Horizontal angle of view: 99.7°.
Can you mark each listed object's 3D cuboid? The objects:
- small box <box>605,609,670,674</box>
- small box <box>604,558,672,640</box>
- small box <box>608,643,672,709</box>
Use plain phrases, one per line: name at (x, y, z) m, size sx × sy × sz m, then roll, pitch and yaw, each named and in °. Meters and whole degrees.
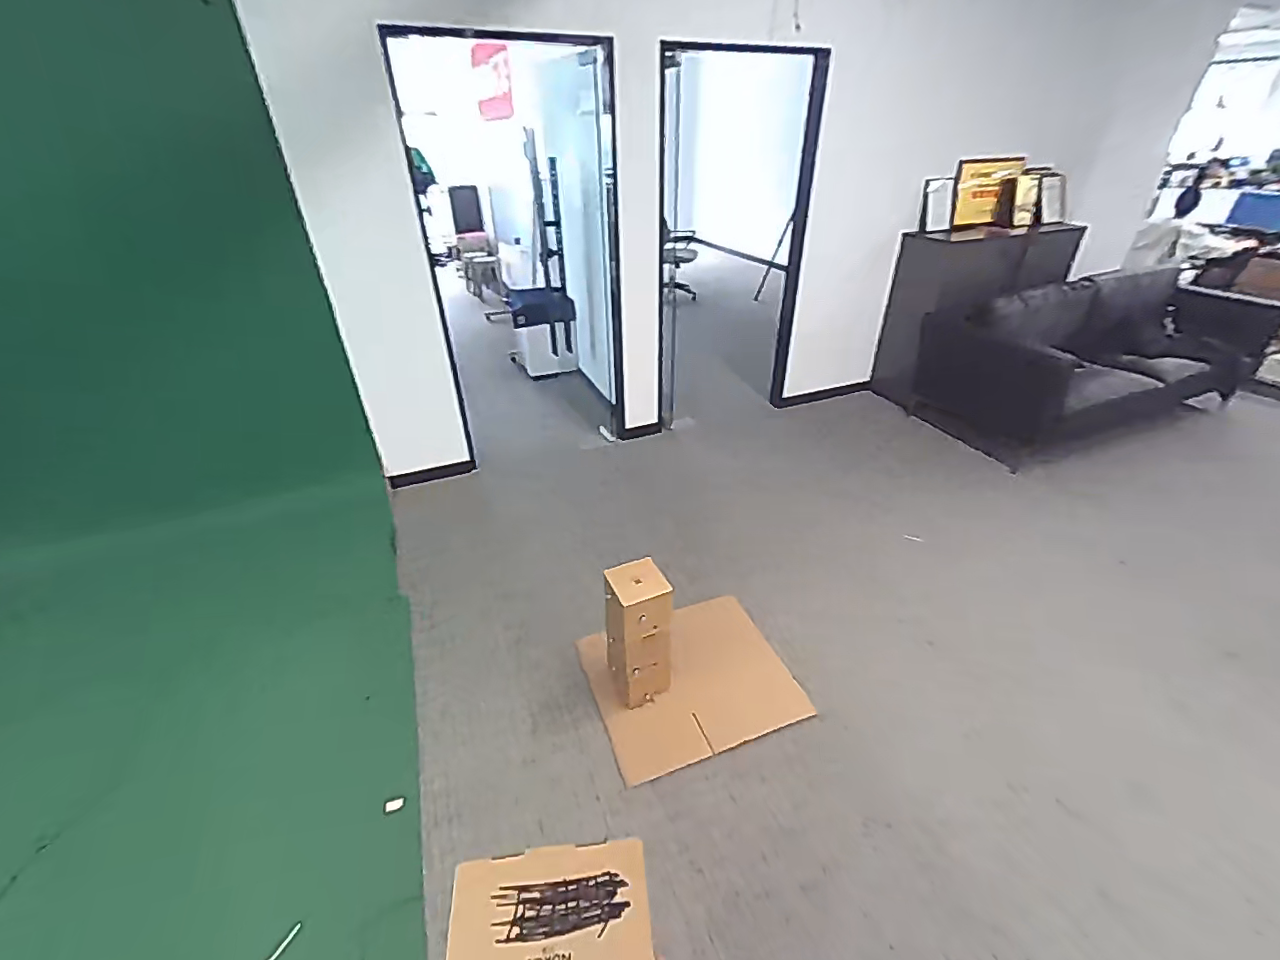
small box at (-0.006, 0.521, 1.805) m, size 0.168 × 0.176 × 0.179 m, roll -15°, pitch 34°, yaw -20°
small box at (-0.005, 0.383, 1.720) m, size 0.168 × 0.176 × 0.179 m, roll -15°, pitch 35°, yaw -20°
small box at (-0.003, 0.659, 1.893) m, size 0.168 × 0.176 × 0.179 m, roll -17°, pitch 36°, yaw -23°
